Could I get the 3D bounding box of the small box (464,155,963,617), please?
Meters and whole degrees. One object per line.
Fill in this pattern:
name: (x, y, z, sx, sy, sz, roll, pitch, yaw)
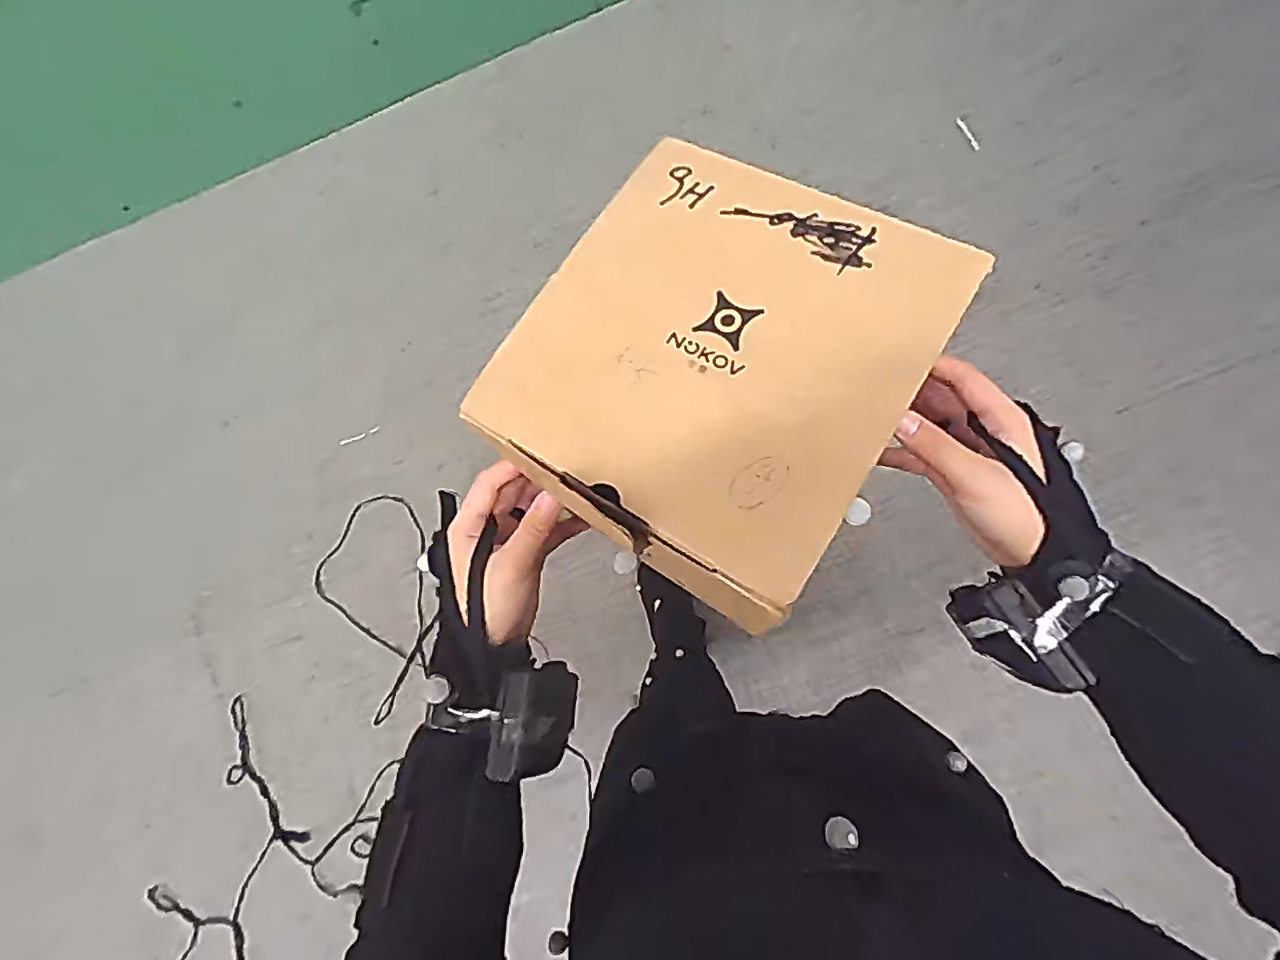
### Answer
small box: (0.041, -0.035, 0.318, 0.168, 0.176, 0.179, 31, 81, 17)
